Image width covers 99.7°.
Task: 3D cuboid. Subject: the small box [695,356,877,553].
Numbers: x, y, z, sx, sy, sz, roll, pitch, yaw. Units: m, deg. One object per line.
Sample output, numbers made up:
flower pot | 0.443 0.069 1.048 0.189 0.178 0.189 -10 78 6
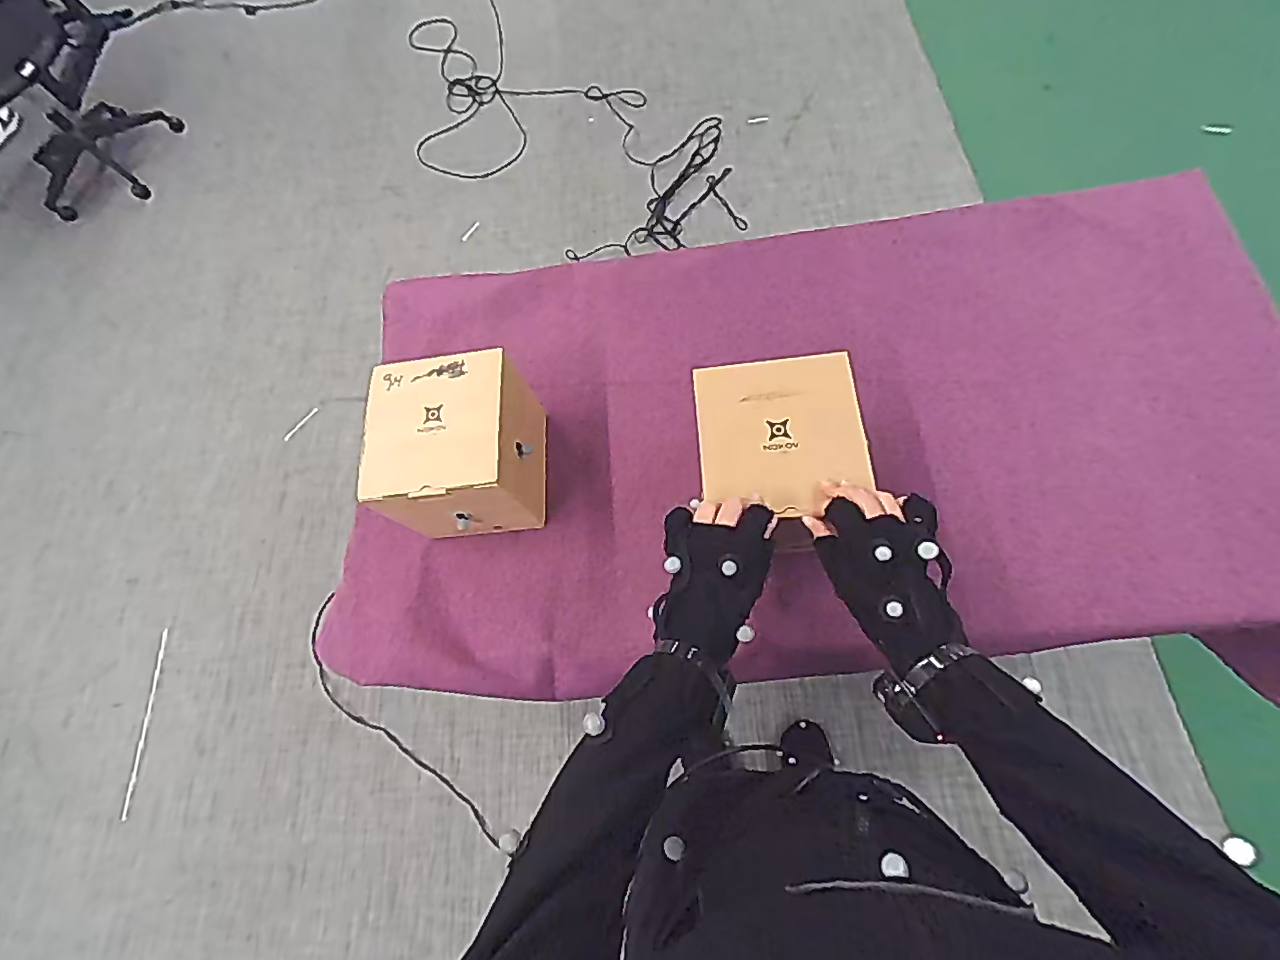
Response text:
small box | 0.155 -0.016 0.623 0.168 0.176 0.179 -5 68 7

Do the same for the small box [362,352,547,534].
small box | -0.221 -0.034 0.690 0.168 0.176 0.179 -6 69 6
